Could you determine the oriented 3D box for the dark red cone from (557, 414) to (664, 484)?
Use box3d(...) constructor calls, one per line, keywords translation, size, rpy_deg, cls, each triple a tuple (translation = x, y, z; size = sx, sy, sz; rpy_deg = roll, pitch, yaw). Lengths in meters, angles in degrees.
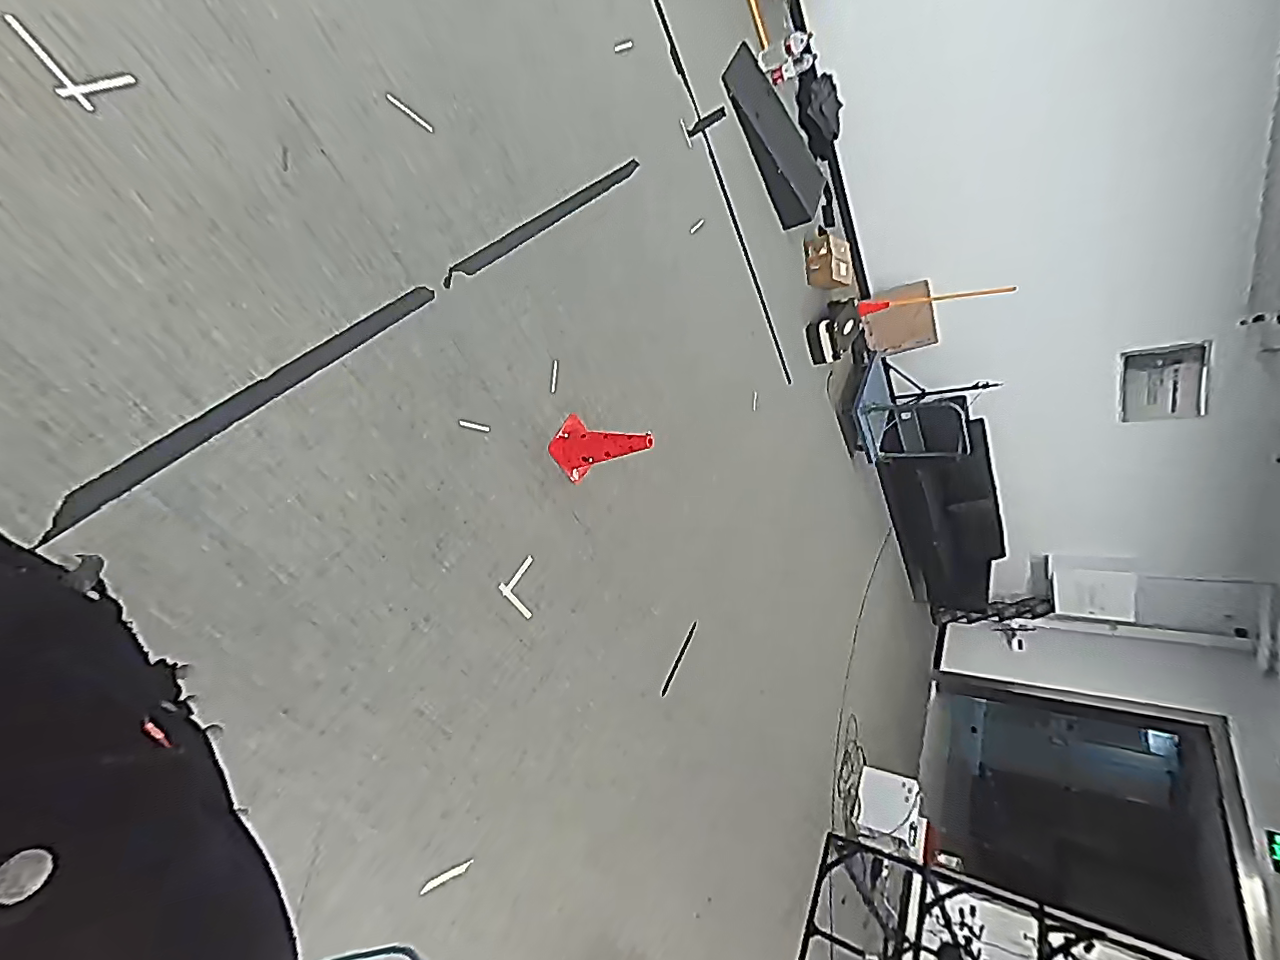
box3d(translation=(-0.082, -0.117, 1.868), size=(0.201, 0.394, 0.202), rpy_deg=(54, 50, -34), cls="dark red cone")
